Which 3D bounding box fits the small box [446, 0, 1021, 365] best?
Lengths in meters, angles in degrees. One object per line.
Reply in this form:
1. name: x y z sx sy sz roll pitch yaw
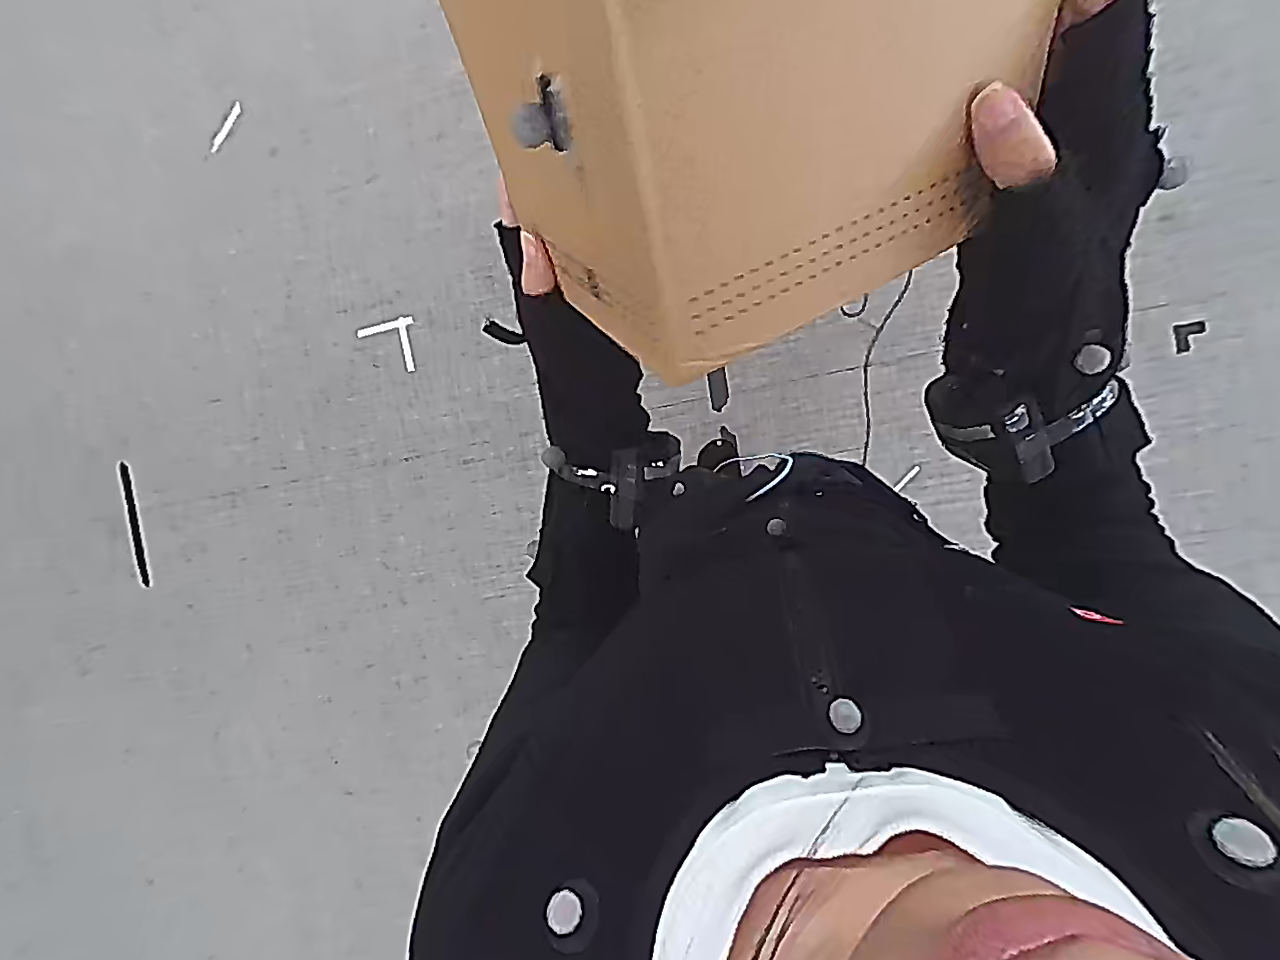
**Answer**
1. small box: 0.032 -0.175 0.229 0.179 0.176 0.168 -27 44 -9
